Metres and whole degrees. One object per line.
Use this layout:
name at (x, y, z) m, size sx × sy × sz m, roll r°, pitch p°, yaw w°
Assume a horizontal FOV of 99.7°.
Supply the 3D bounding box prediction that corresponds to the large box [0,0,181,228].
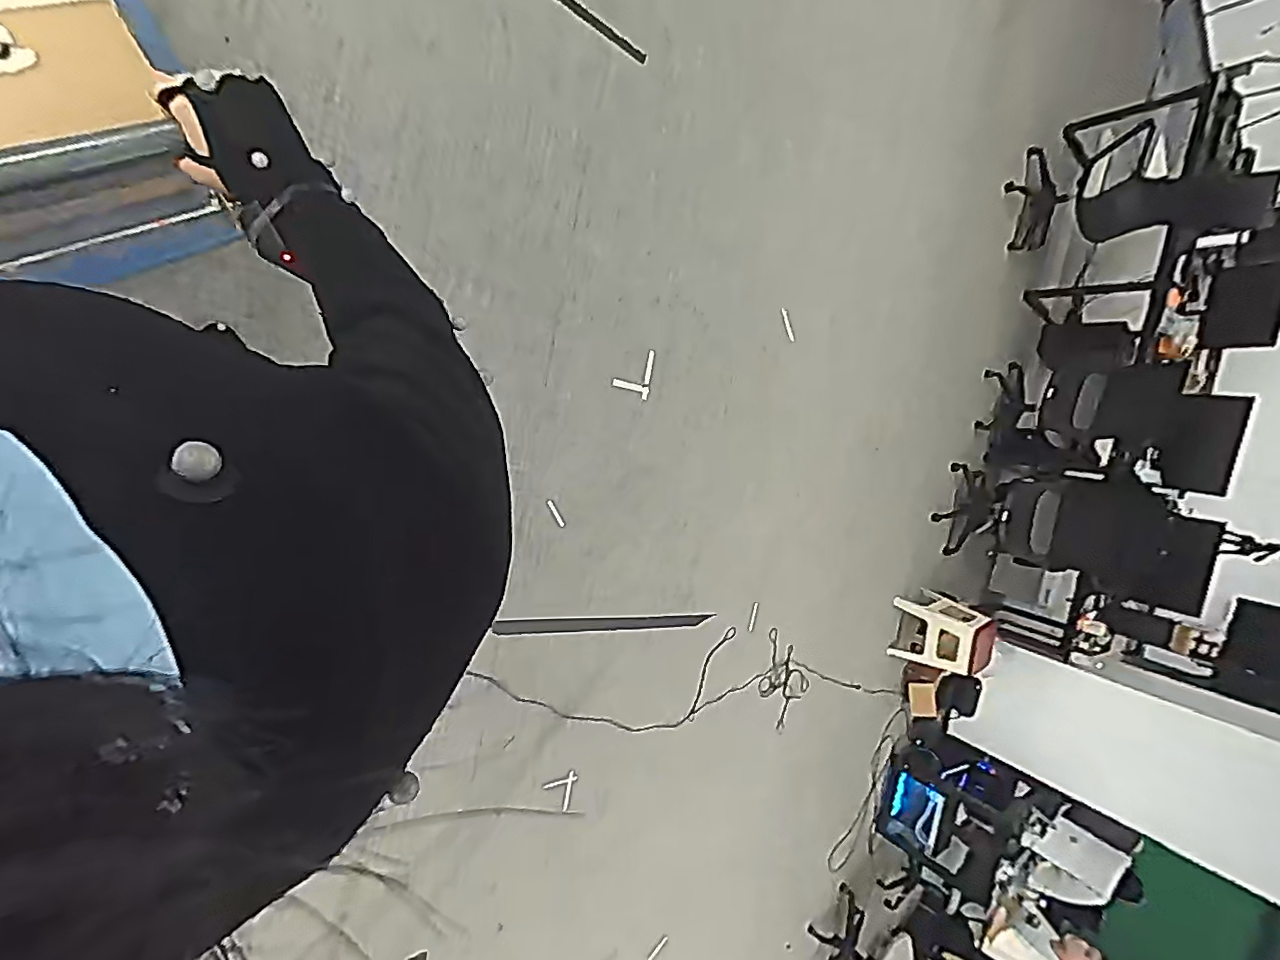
large box at (-0.917, -0.534, 0.699) m, size 0.408 × 0.320 × 0.320 m, roll -37°, pitch 121°, yaw -29°
